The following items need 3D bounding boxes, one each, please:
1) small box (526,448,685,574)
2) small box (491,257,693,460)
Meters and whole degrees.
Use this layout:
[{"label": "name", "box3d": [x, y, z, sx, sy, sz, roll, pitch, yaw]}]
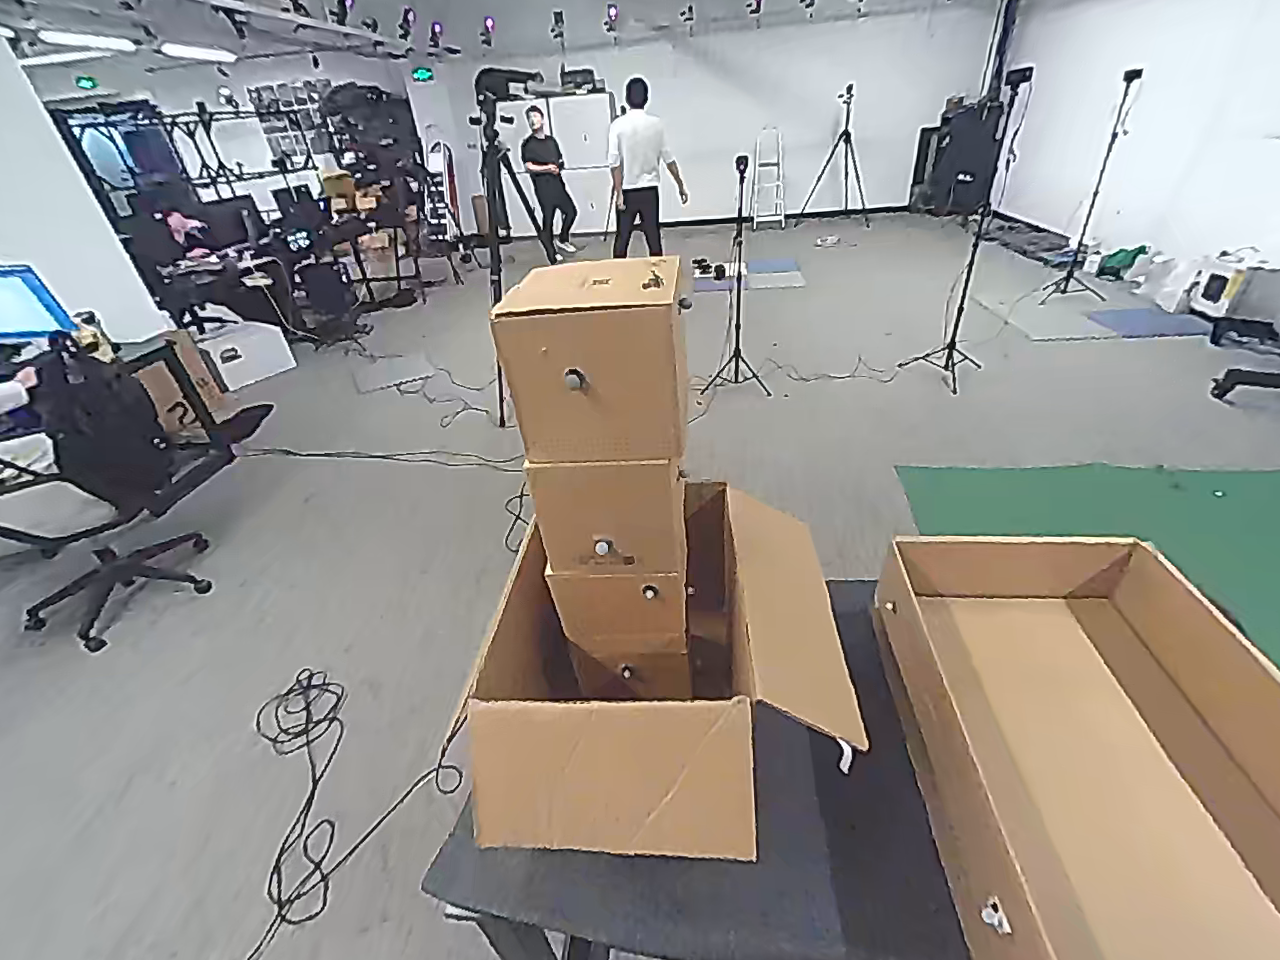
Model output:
[{"label": "small box", "box3d": [-0.030, -0.001, 0.699, 0.168, 0.176, 0.179, -1, 37, 8]}, {"label": "small box", "box3d": [-0.037, -0.133, 0.601, 0.179, 0.176, 0.168, -2, 37, 9]}]
